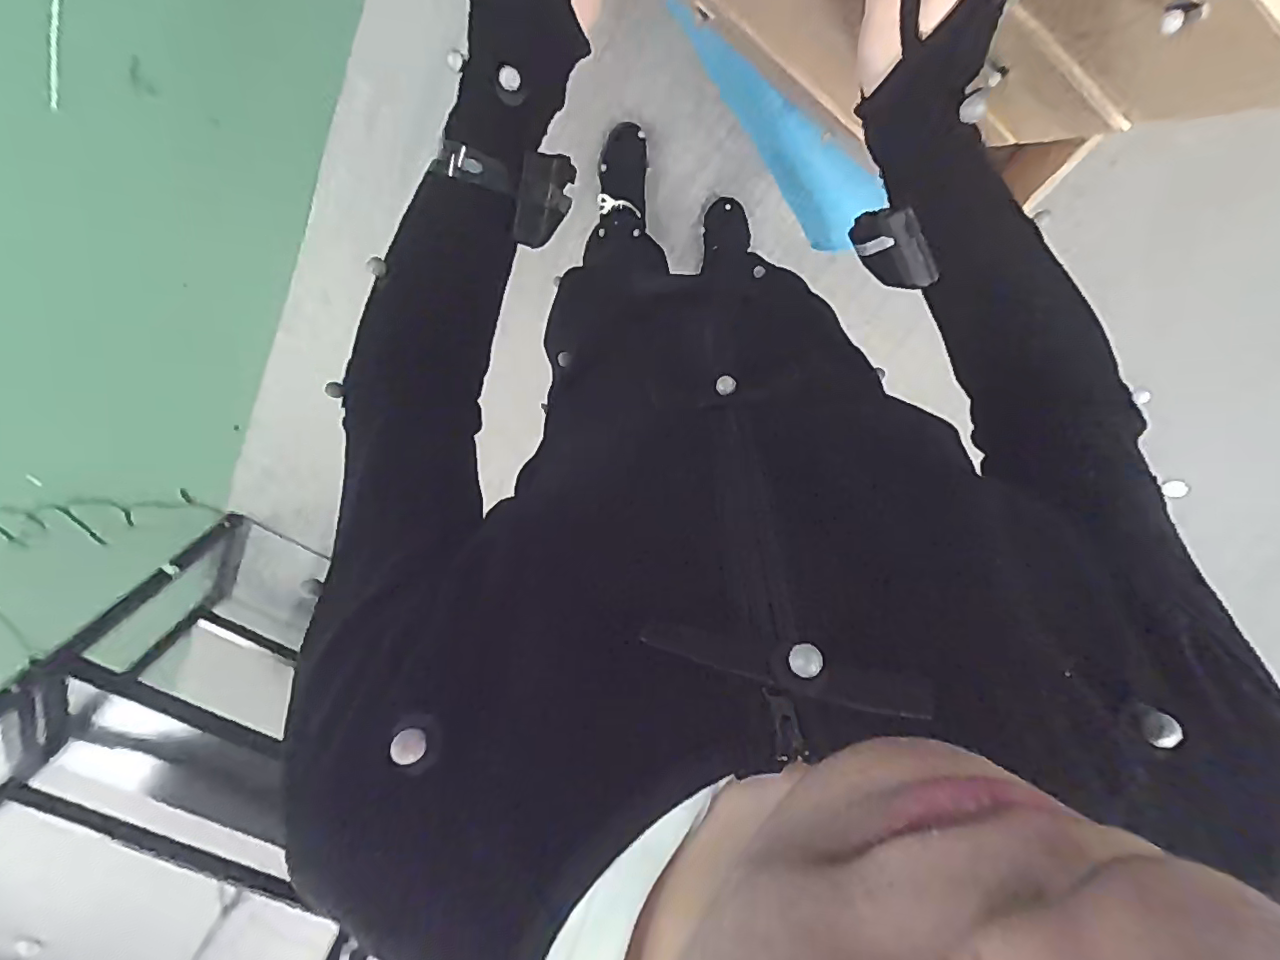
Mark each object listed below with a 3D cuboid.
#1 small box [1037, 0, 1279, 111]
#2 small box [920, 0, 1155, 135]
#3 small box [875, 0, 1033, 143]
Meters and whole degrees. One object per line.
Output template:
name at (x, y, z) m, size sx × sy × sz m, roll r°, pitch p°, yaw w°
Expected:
small box at (0.361, -0.338, 0.297) m, size 0.179 × 0.176 × 0.168 m, roll 34°, pitch 118°, yaw -12°
small box at (0.373, -0.414, 0.440) m, size 0.179 × 0.176 × 0.168 m, roll 34°, pitch 117°, yaw -11°
small box at (0.389, -0.493, 0.583) m, size 0.179 × 0.176 × 0.168 m, roll 35°, pitch 118°, yaw -12°
